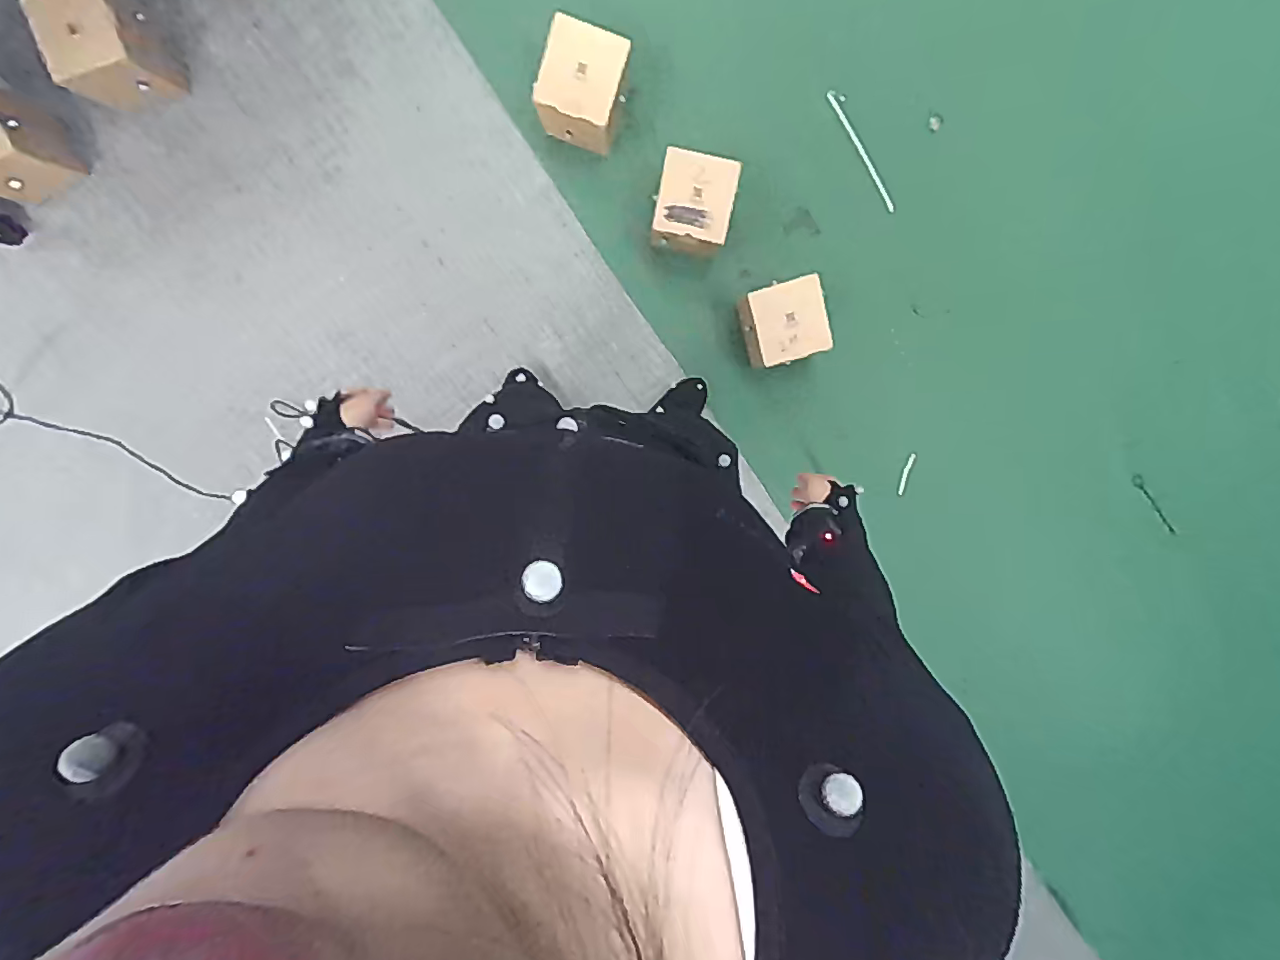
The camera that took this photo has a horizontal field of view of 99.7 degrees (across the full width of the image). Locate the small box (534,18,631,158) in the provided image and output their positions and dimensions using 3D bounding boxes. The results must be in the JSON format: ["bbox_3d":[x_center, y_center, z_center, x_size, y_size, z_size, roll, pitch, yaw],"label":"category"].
[{"bbox_3d":[-0.125,-0.871,1.220,0.168,0.176,0.179,19,102,-4],"label":"small box"}]

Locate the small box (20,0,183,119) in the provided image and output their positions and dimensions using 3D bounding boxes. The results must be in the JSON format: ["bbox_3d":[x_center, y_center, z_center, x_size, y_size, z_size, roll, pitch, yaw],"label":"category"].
[{"bbox_3d":[-1.180,-0.950,1.207,0.179,0.176,0.168,-15,101,5],"label":"small box"}]

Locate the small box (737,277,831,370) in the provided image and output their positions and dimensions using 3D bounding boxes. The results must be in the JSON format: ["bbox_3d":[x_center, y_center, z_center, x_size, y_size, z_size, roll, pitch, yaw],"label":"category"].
[{"bbox_3d":[0.344,-0.375,1.323,0.168,0.176,0.179,-16,102,4],"label":"small box"}]

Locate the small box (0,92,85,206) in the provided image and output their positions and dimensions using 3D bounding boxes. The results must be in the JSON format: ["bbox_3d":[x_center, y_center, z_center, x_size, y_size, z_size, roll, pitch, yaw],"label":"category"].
[{"bbox_3d":[-1.471,-0.766,1.249,0.179,0.176,0.168,-23,102,6],"label":"small box"}]
